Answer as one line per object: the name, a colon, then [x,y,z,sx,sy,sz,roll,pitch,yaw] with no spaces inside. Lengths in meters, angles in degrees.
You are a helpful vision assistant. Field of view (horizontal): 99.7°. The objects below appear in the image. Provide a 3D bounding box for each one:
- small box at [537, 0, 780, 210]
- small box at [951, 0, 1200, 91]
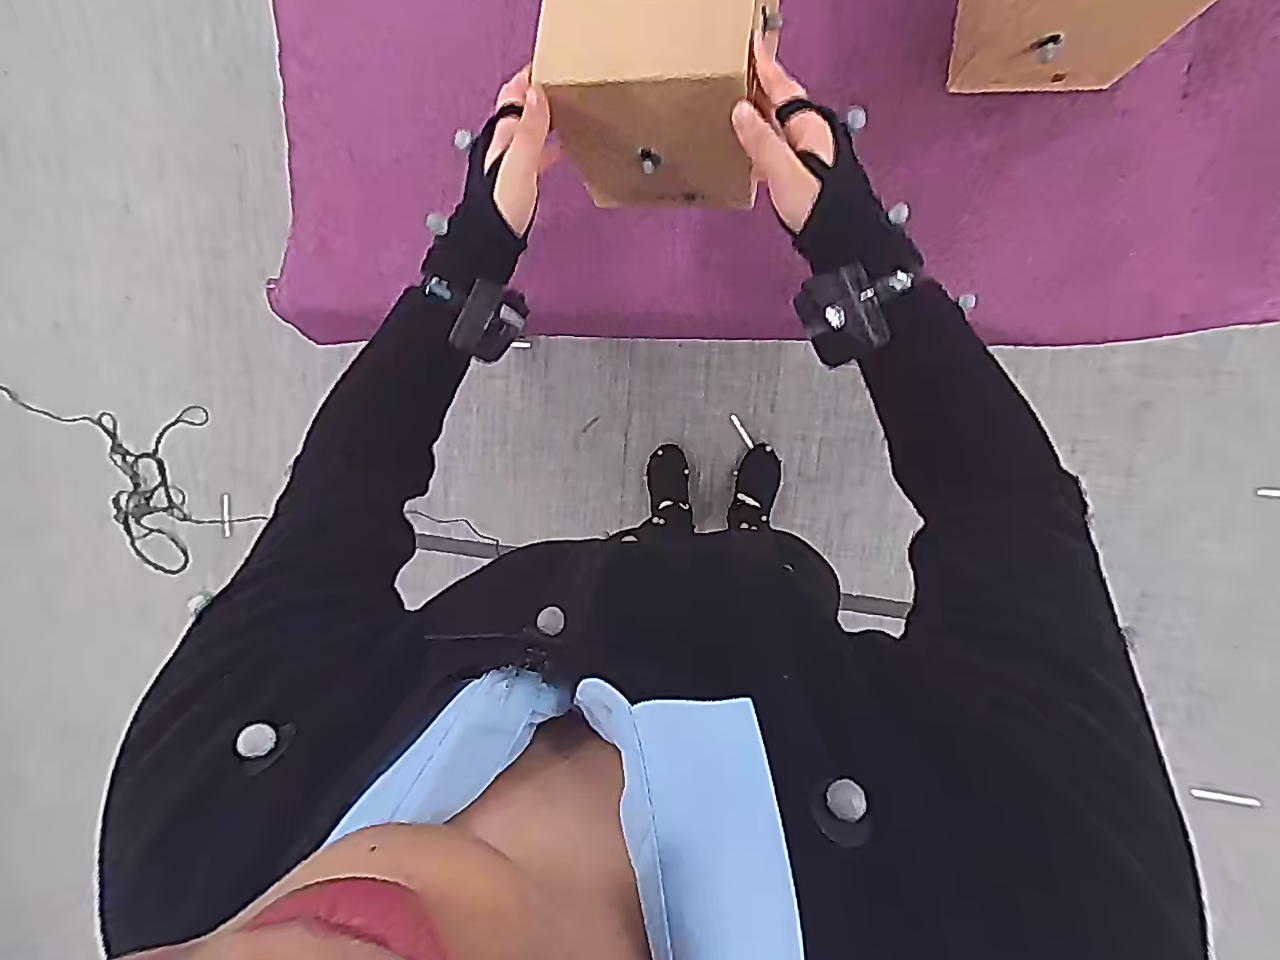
small box: [0.029,-0.362,0.475,0.168,0.176,0.179,8,87,13]
small box: [0.423,-0.506,0.517,0.168,0.176,0.179,5,99,9]
